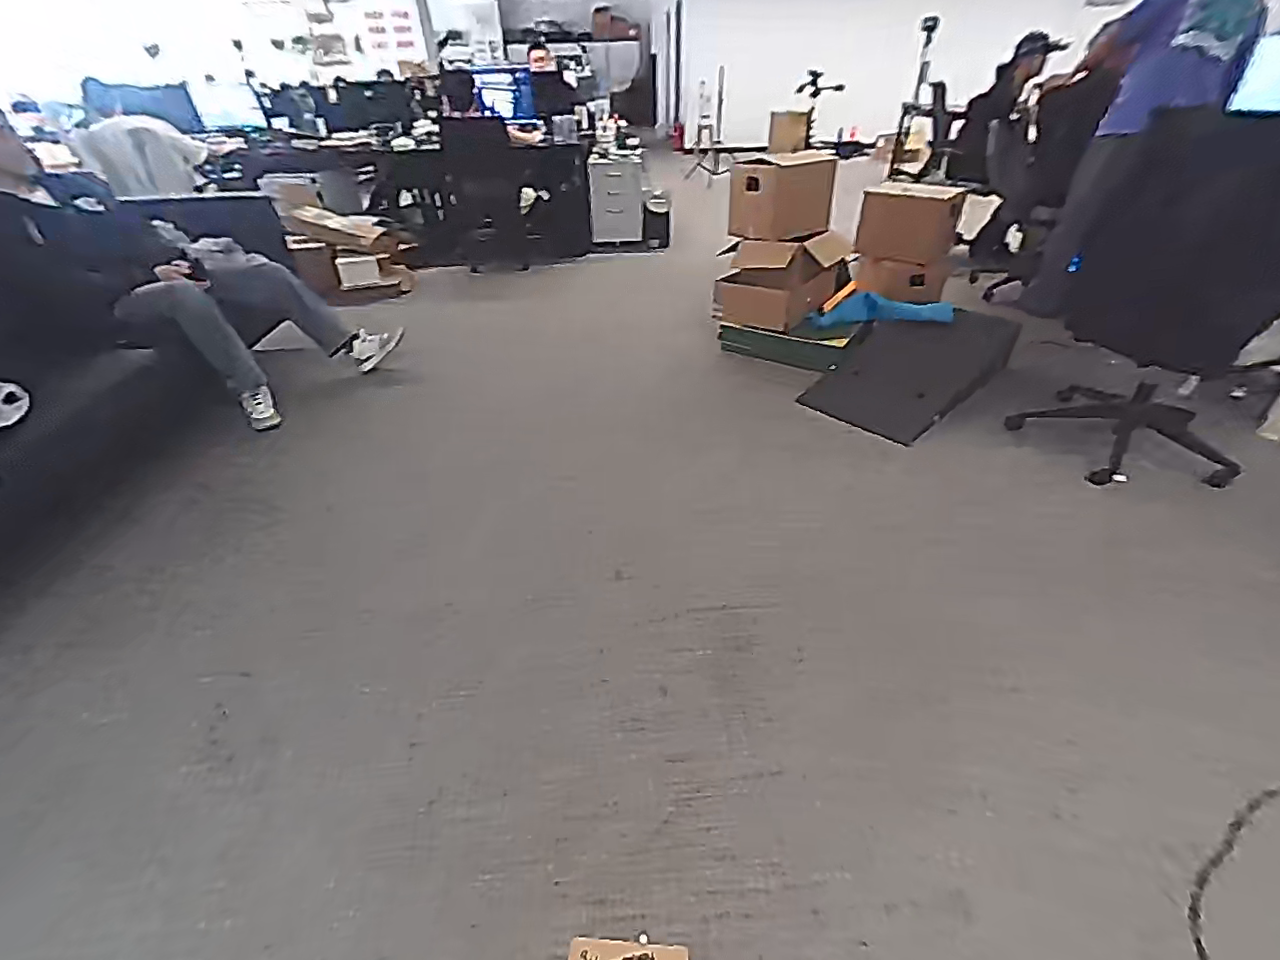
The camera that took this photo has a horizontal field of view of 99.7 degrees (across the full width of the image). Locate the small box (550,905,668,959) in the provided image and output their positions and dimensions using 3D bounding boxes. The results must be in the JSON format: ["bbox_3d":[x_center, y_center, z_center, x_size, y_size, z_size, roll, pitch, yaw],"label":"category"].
[{"bbox_3d":[-0.028,0.742,0.735,0.179,0.176,0.168,-19,37,-17],"label":"small box"}]
